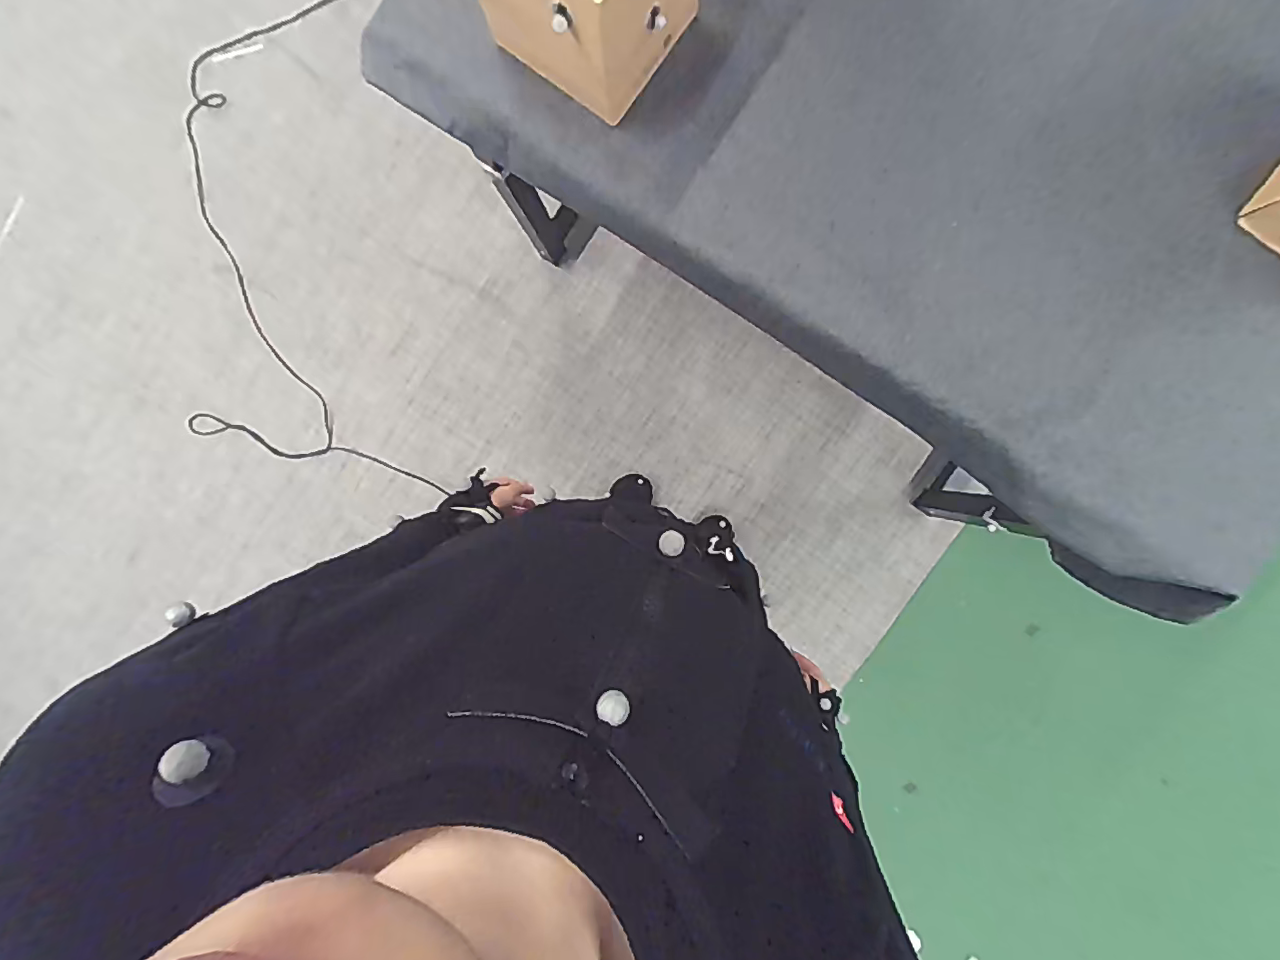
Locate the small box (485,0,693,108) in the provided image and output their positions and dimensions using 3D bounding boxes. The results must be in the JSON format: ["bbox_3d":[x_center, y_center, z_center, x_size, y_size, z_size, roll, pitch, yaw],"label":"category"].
[{"bbox_3d":[-0.052,-0.526,0.544,0.179,0.176,0.168,36,91,1],"label":"small box"}]

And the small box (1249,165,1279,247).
[{"bbox_3d":[0.768,-0.308,0.508,0.168,0.176,0.179,37,95,2],"label":"small box"}]
